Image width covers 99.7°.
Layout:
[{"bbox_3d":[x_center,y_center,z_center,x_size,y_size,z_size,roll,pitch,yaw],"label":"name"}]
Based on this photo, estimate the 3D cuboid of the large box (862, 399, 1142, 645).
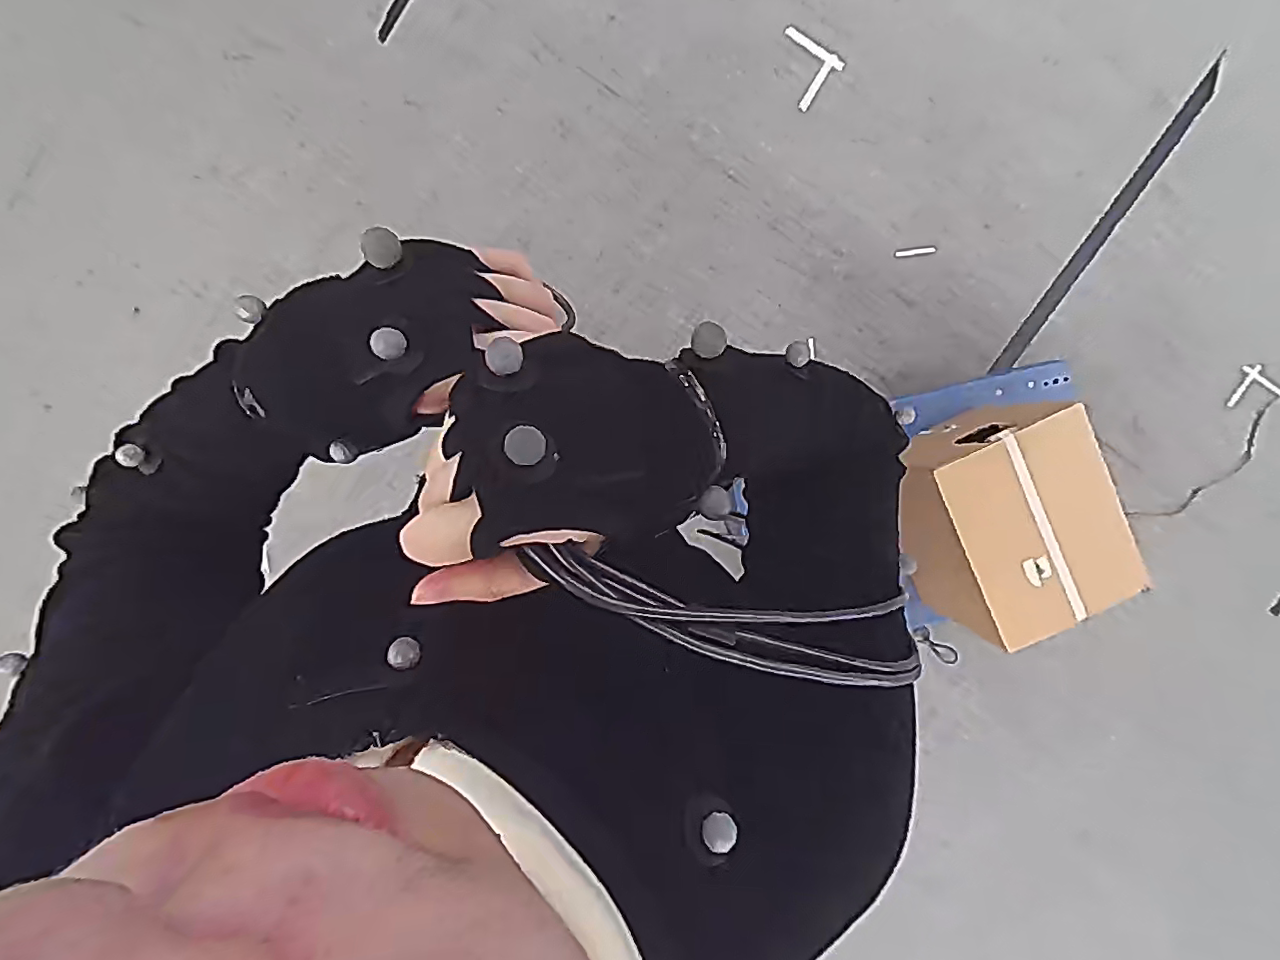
[{"bbox_3d":[0.763,0.070,1.191,0.320,0.320,0.408,-25,97,1],"label":"large box"}]
